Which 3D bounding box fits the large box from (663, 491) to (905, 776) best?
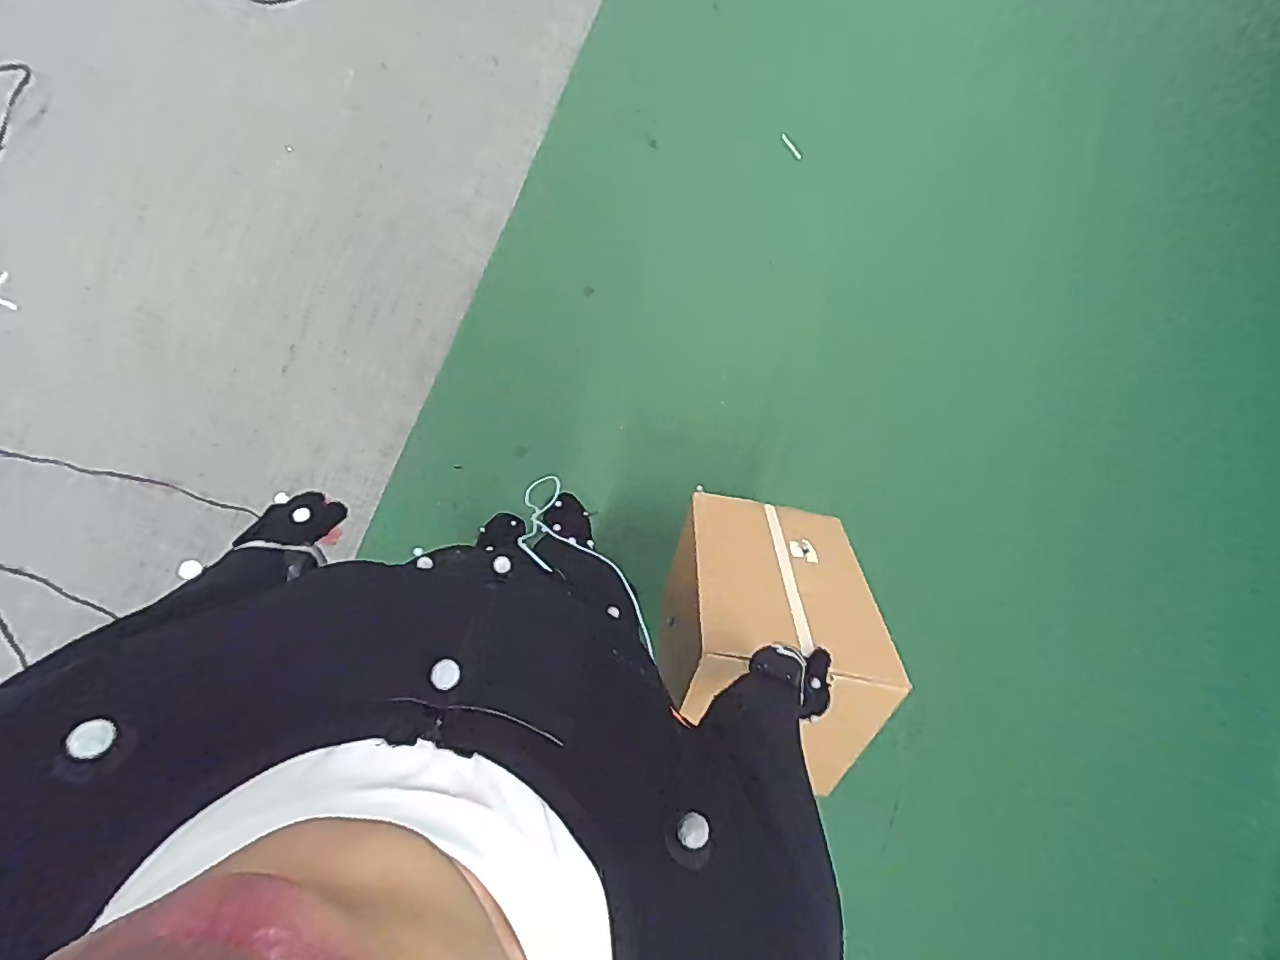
[{"bbox_3d":[0.223,0.277,1.028,0.320,0.408,0.320,11,123,-5],"label":"large box"}]
